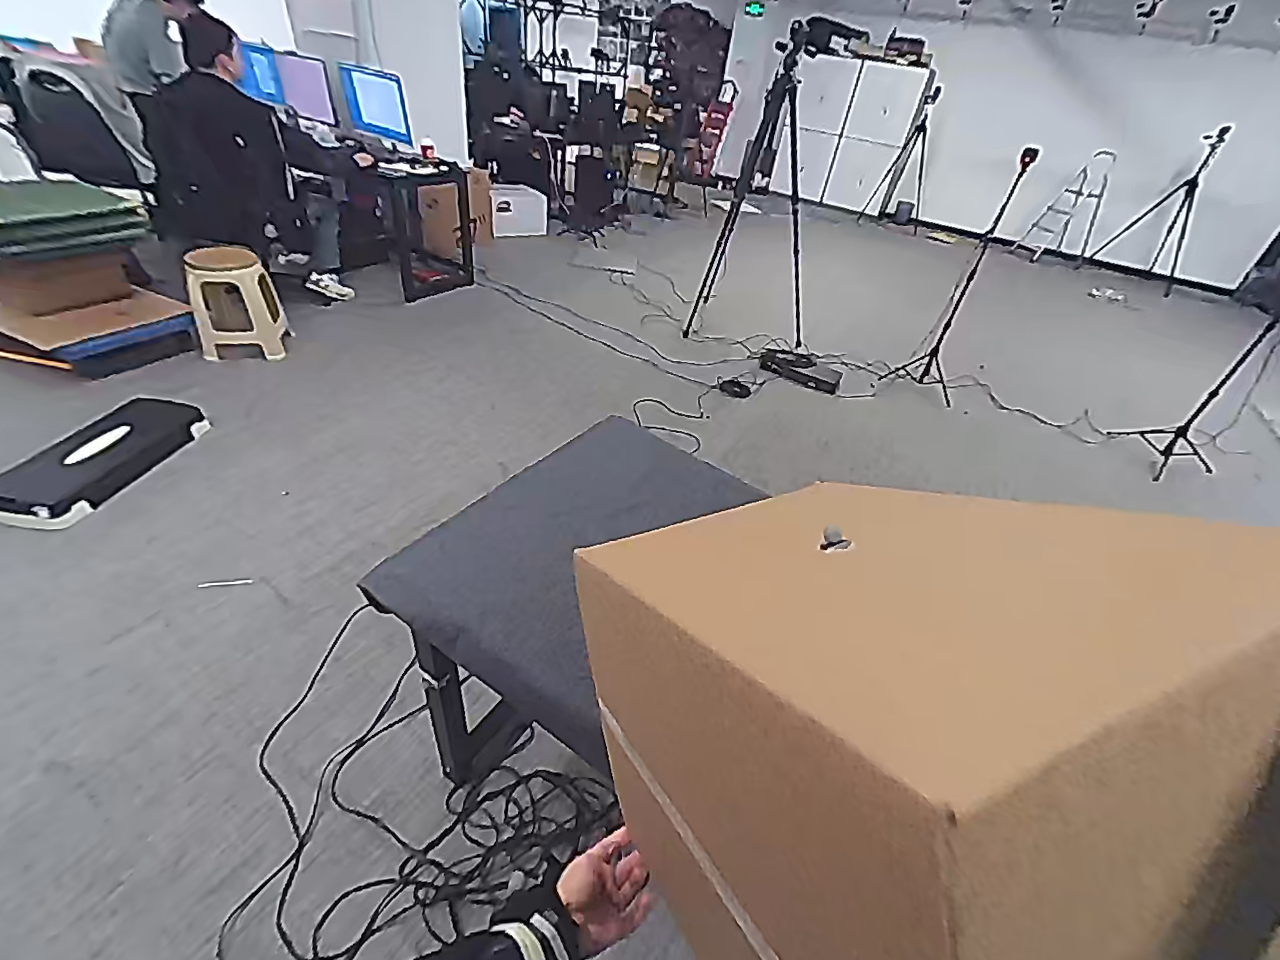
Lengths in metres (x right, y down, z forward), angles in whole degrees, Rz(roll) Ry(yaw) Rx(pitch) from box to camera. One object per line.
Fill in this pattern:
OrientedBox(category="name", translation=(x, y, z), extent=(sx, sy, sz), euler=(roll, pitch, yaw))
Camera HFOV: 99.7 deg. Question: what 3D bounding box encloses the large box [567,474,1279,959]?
OrientedBox(category="large box", translation=(0.170, 0.193, 0.417), extent=(0.320, 0.320, 0.408), euler=(-14, 10, -23))
